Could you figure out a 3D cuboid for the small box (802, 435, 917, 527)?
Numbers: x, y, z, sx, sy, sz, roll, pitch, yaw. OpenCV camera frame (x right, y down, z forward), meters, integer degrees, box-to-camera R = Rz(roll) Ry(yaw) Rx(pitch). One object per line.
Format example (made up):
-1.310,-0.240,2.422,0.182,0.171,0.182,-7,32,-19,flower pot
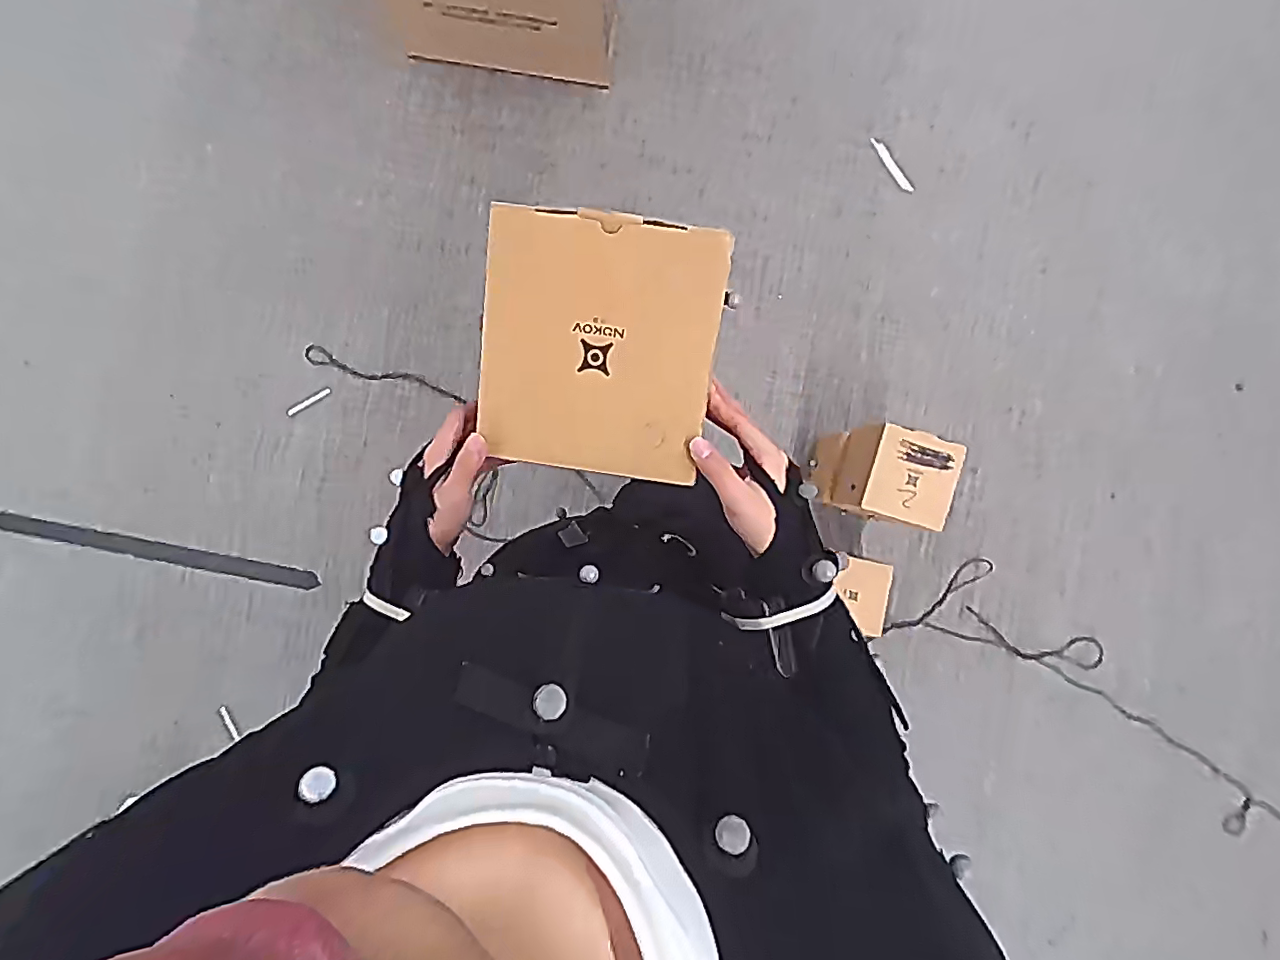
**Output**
0.509,0.002,1.277,0.179,0.176,0.168,18,89,1,small box

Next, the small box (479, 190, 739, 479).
-0.020,-0.112,0.445,0.168,0.176,0.179,8,103,3,small box

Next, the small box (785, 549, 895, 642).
0.463,0.263,1.274,0.179,0.176,0.168,12,88,0,small box
